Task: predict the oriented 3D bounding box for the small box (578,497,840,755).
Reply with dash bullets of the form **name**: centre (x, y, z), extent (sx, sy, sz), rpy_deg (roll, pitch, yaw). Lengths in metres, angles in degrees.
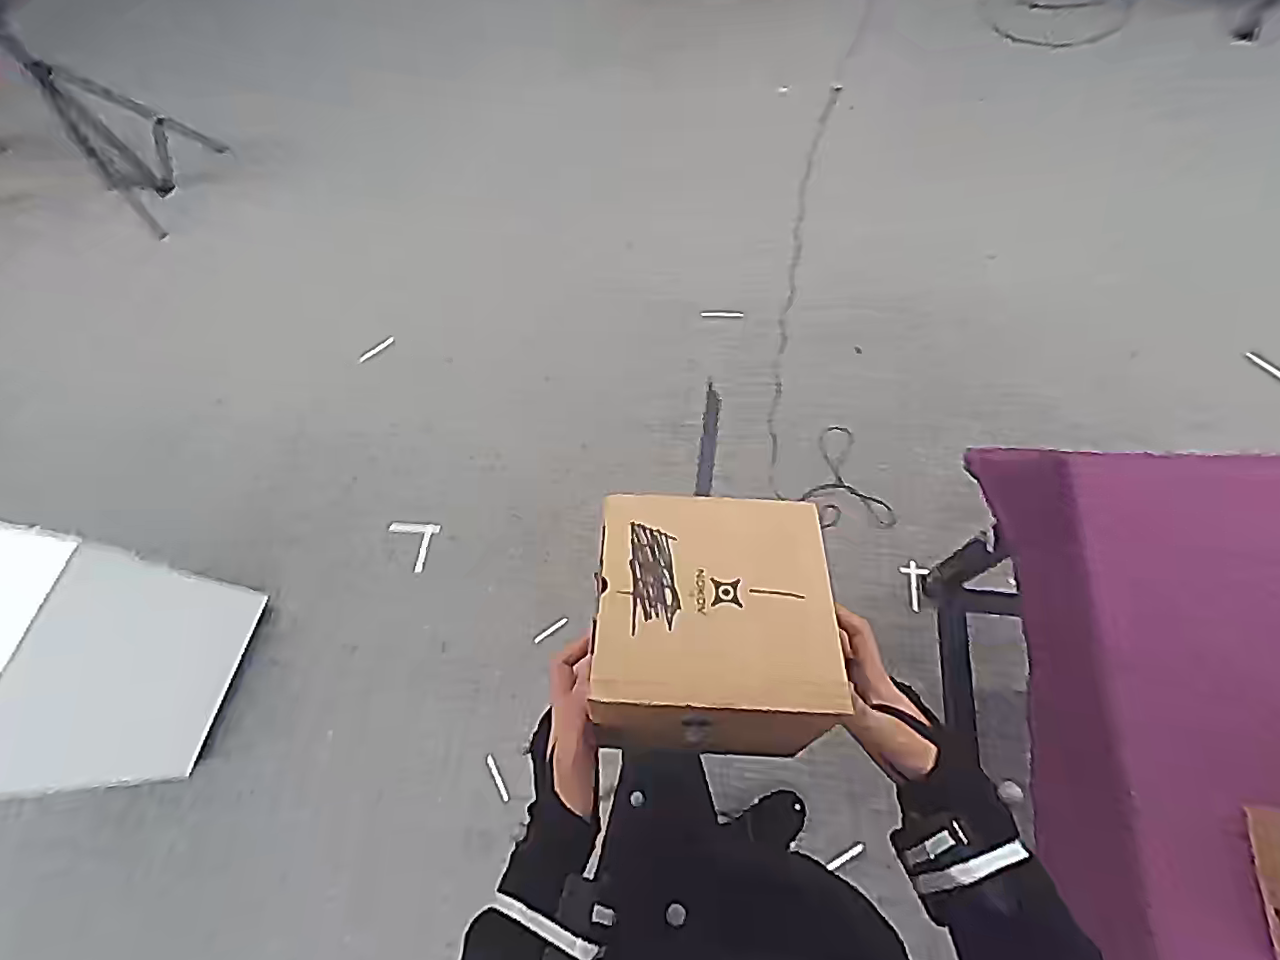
- **small box**: centre (0.048, 0.130, 0.464), extent (0.179, 0.176, 0.168), rpy_deg (2, 54, 1)
